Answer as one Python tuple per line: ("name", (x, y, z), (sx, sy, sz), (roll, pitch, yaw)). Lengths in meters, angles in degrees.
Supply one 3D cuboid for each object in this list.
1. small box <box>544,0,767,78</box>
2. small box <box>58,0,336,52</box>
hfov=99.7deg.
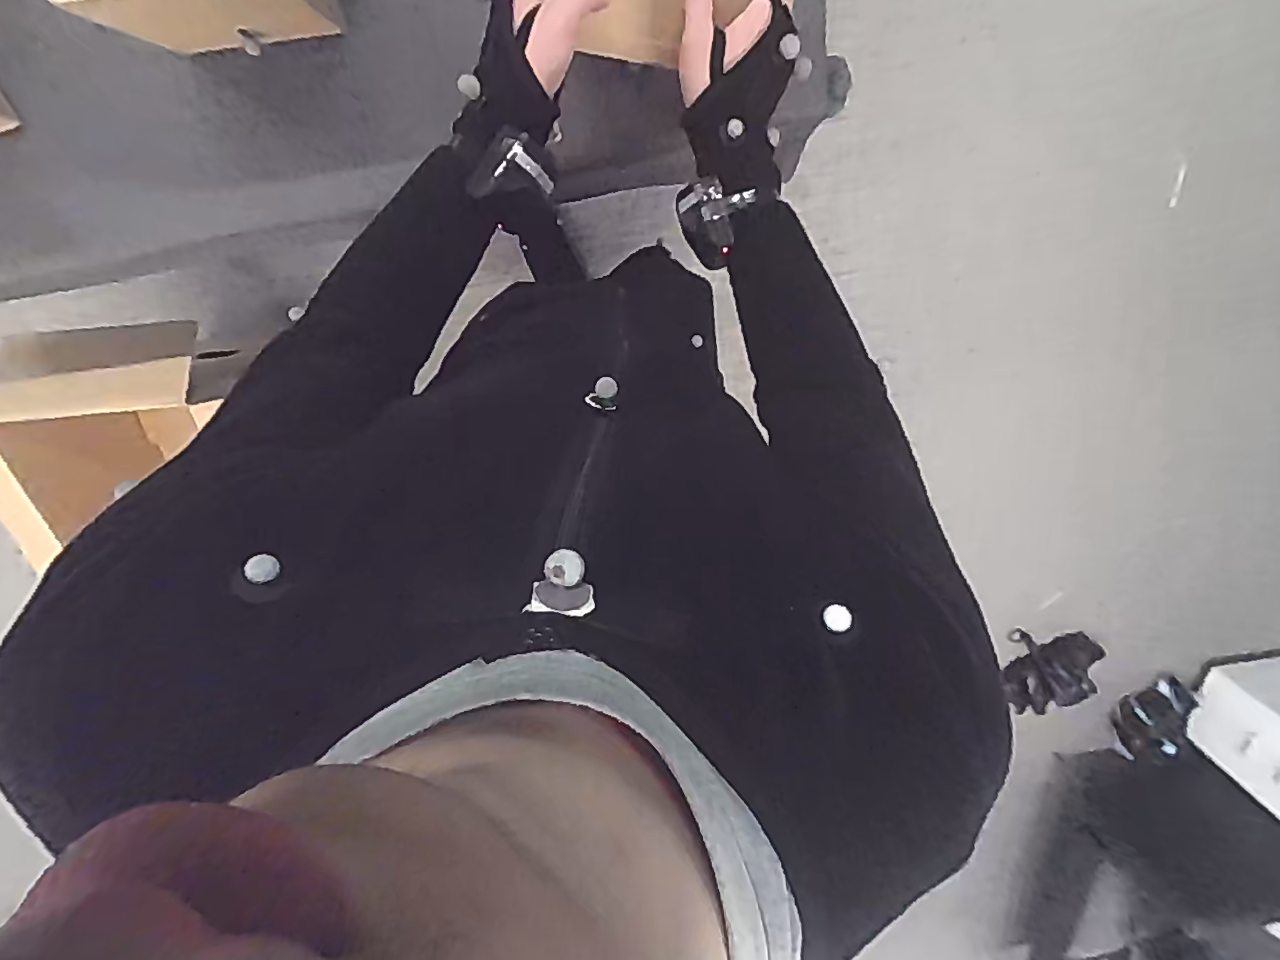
("small box", (0.021, -0.466, 0.448), (0.179, 0.176, 0.168), (6, 138, -6))
("small box", (-0.392, -0.495, 0.463), (0.179, 0.176, 0.168), (-10, 117, -2))
